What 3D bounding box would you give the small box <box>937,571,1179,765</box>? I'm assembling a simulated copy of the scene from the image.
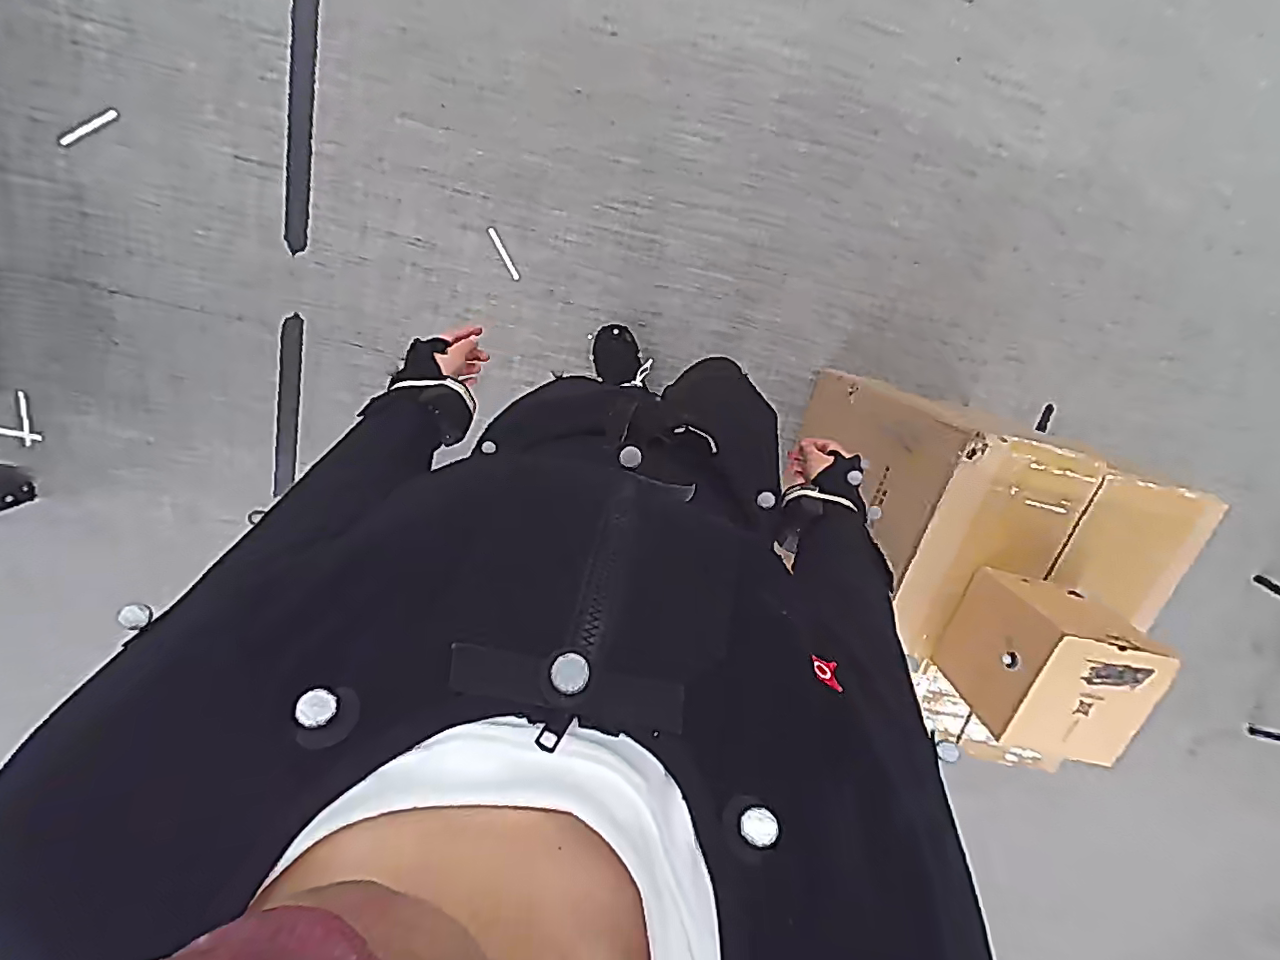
[{"bbox_3d":[0.552,0.249,0.746,0.168,0.176,0.179,14,109,-5],"label":"small box"}]
